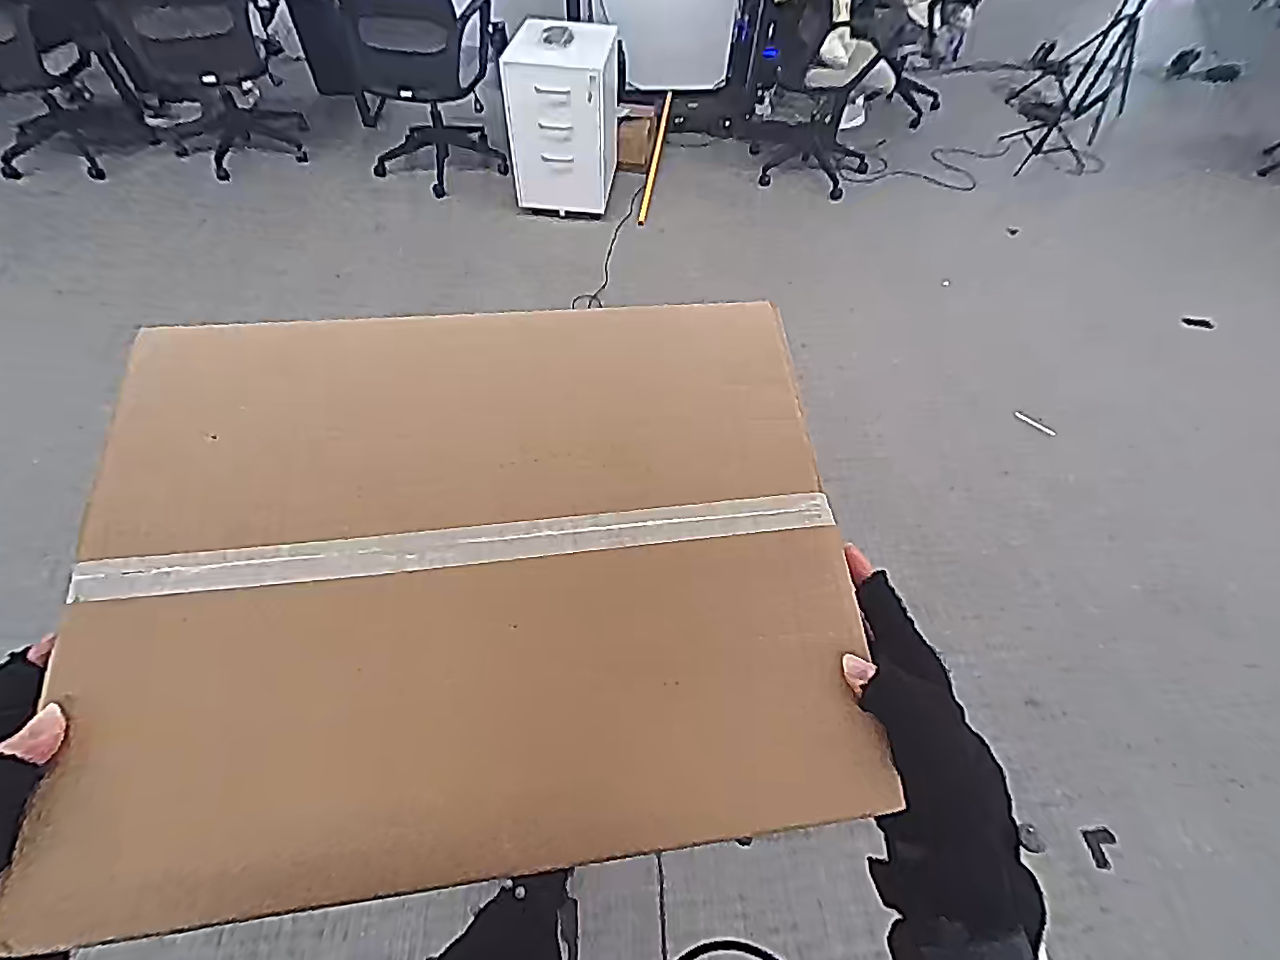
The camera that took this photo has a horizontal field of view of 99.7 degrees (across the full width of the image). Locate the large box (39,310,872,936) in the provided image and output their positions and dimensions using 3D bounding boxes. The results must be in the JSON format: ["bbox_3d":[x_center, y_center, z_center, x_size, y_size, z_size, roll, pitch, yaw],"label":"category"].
[{"bbox_3d":[-0.100,0.091,0.450,0.408,0.320,0.320,-5,69,-7],"label":"large box"}]
